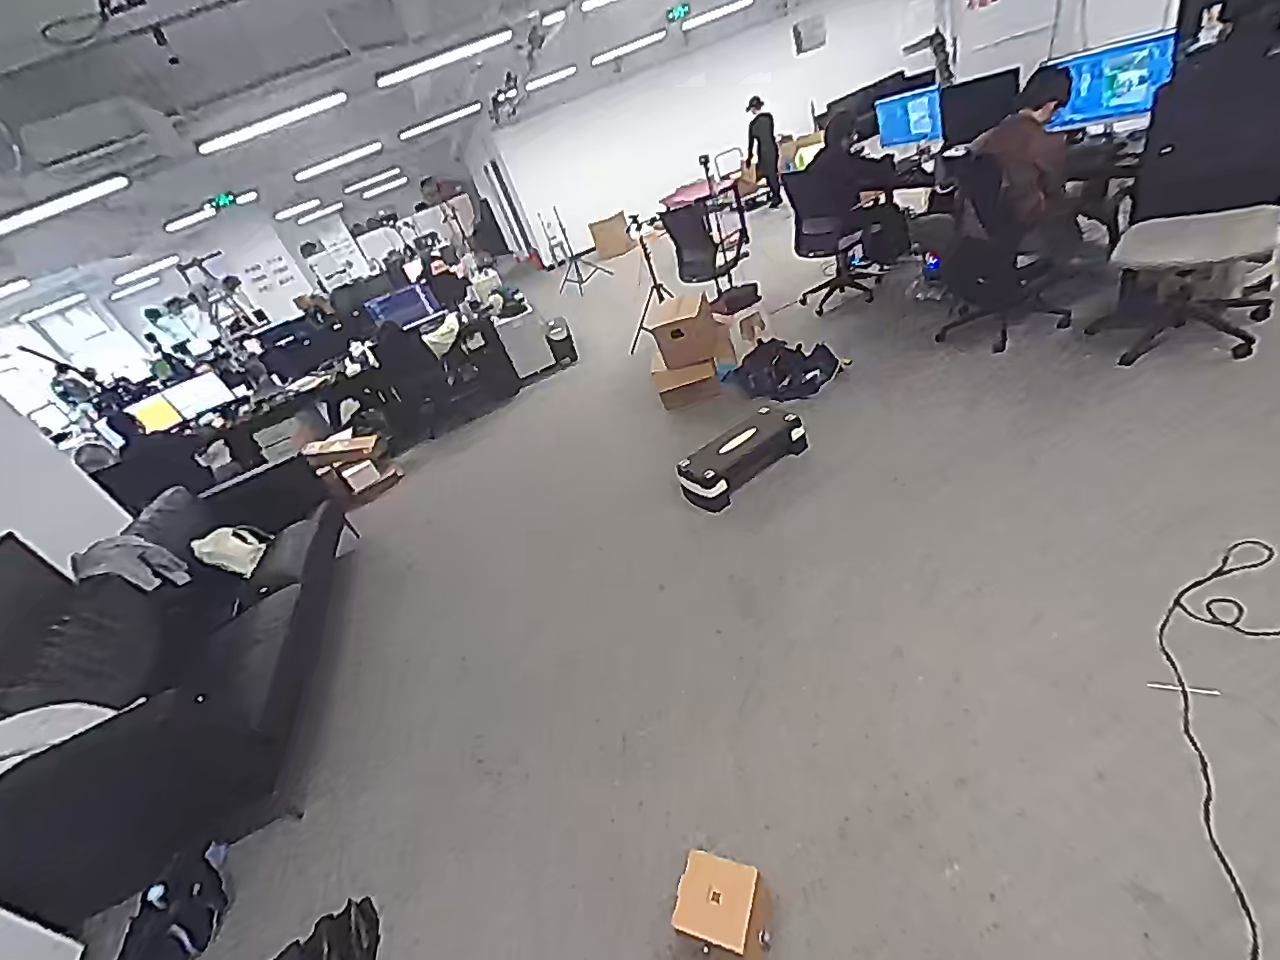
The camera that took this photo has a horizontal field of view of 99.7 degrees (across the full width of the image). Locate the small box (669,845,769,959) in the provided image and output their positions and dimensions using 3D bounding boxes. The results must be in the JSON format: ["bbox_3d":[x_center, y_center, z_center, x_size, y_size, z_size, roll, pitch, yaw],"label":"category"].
[{"bbox_3d":[0.196,1.021,1.295,0.179,0.176,0.168,-3,37,28],"label":"small box"}]
